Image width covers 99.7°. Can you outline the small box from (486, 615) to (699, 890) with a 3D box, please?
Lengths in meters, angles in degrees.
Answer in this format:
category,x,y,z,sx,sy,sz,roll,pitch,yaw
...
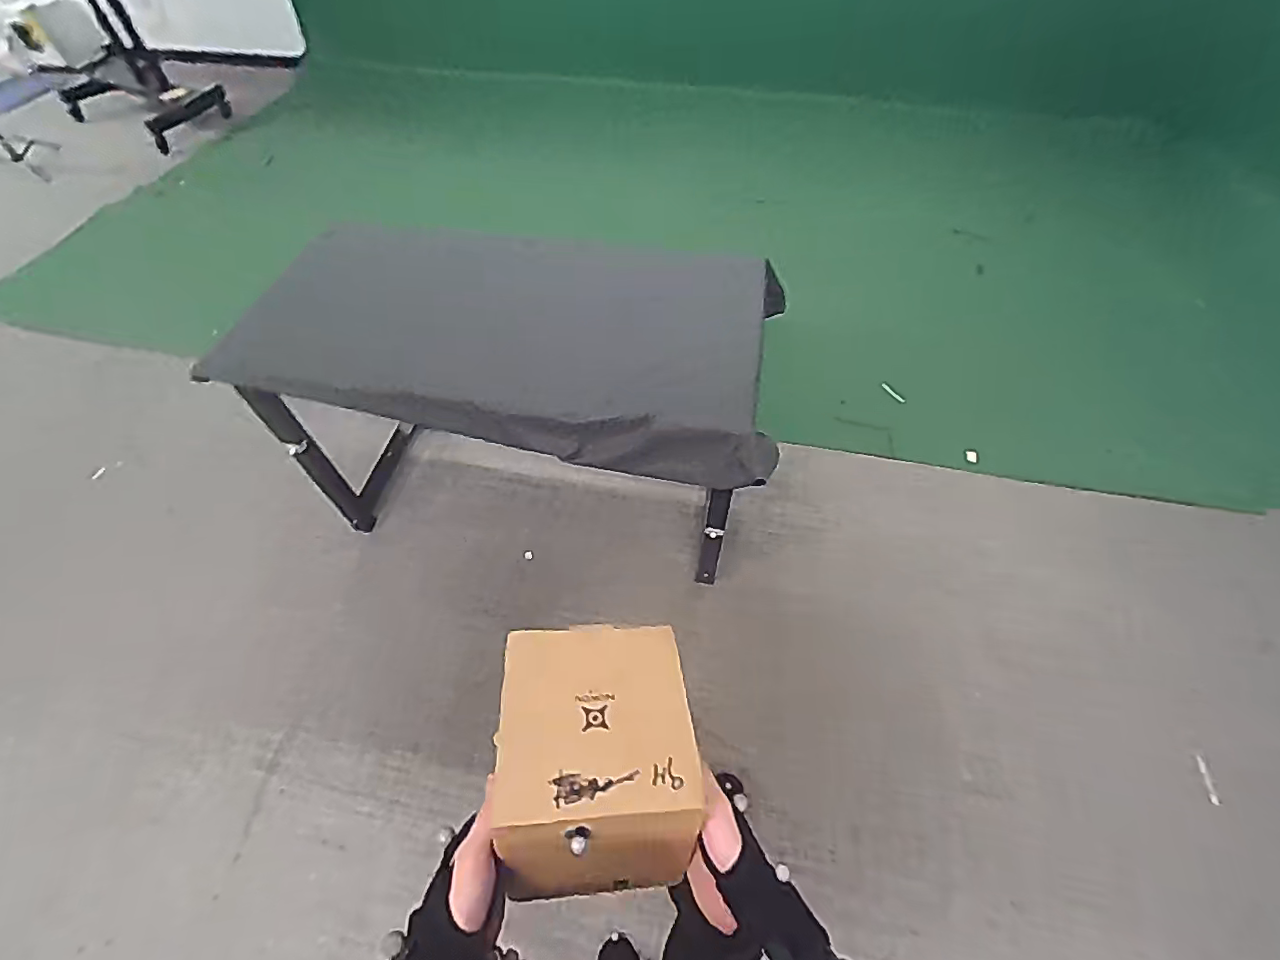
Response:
category,x,y,z,sx,sy,sz,roll,pitch,yaw
small box,-0.047,0.257,0.524,0.168,0.176,0.179,-3,37,-7
